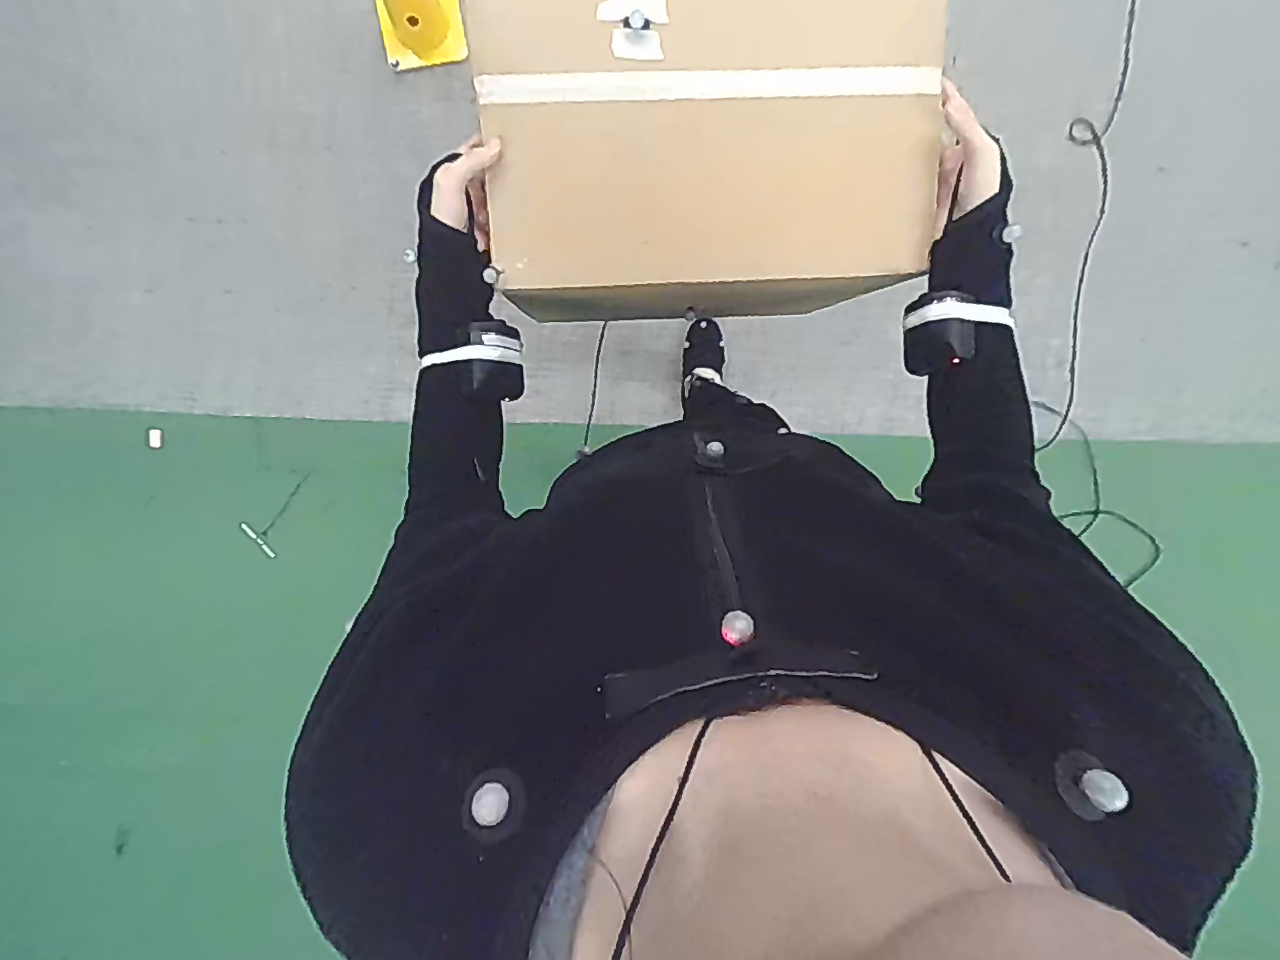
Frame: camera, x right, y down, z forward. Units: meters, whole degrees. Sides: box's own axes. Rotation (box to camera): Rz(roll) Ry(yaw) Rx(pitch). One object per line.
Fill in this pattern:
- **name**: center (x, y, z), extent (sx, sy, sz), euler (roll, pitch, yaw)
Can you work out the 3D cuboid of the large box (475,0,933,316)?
- **large box**: center (0.055, -0.369, 0.624), extent (0.408, 0.320, 0.320), euler (-3, 100, -3)
